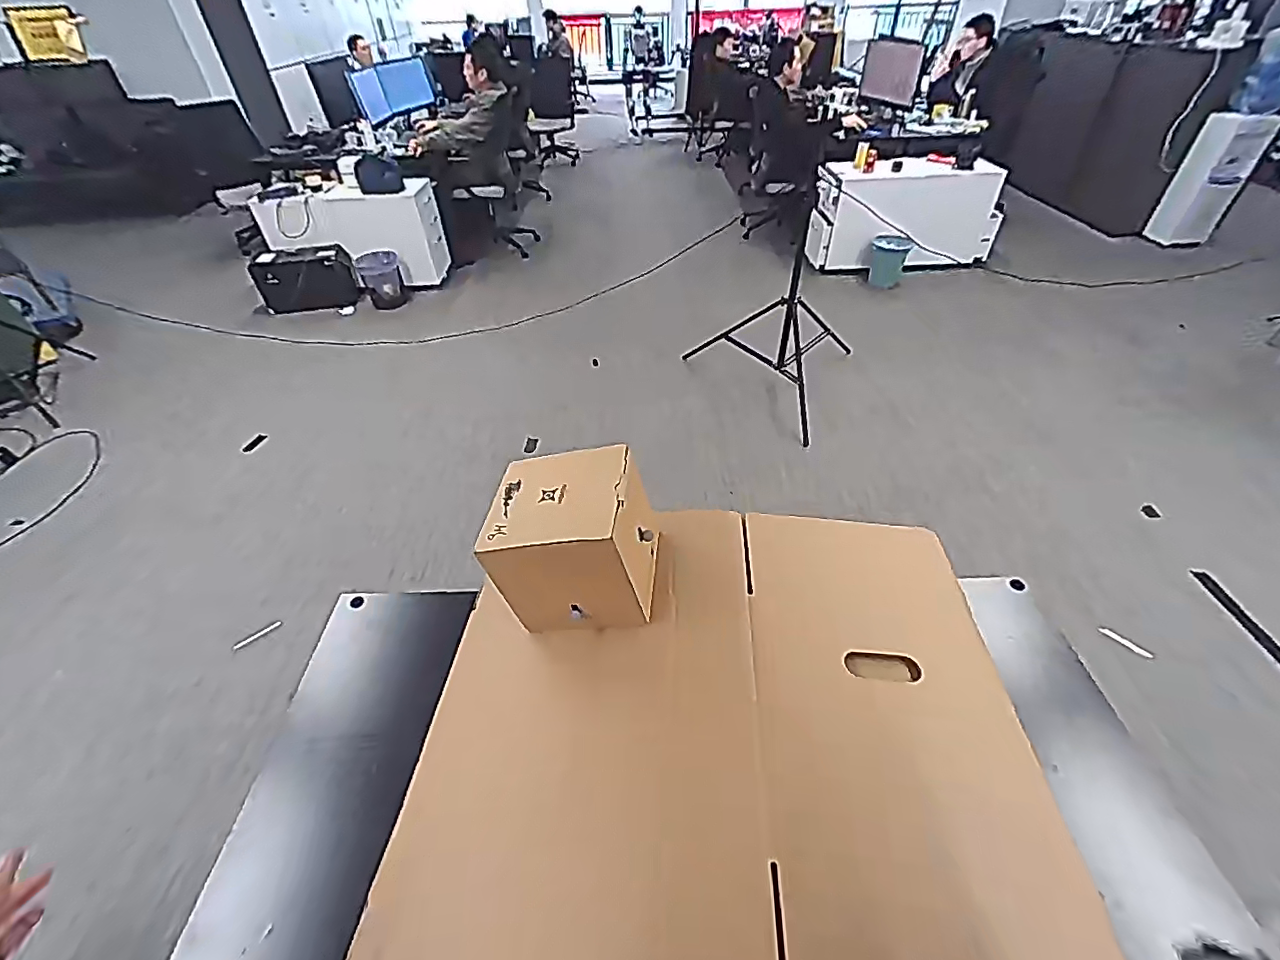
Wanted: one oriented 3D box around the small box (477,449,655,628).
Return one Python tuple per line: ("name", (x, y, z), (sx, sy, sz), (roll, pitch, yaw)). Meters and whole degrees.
("small box", (-0.083, 0.082, 0.728), (0.179, 0.176, 0.168), (-7, 40, 13))
